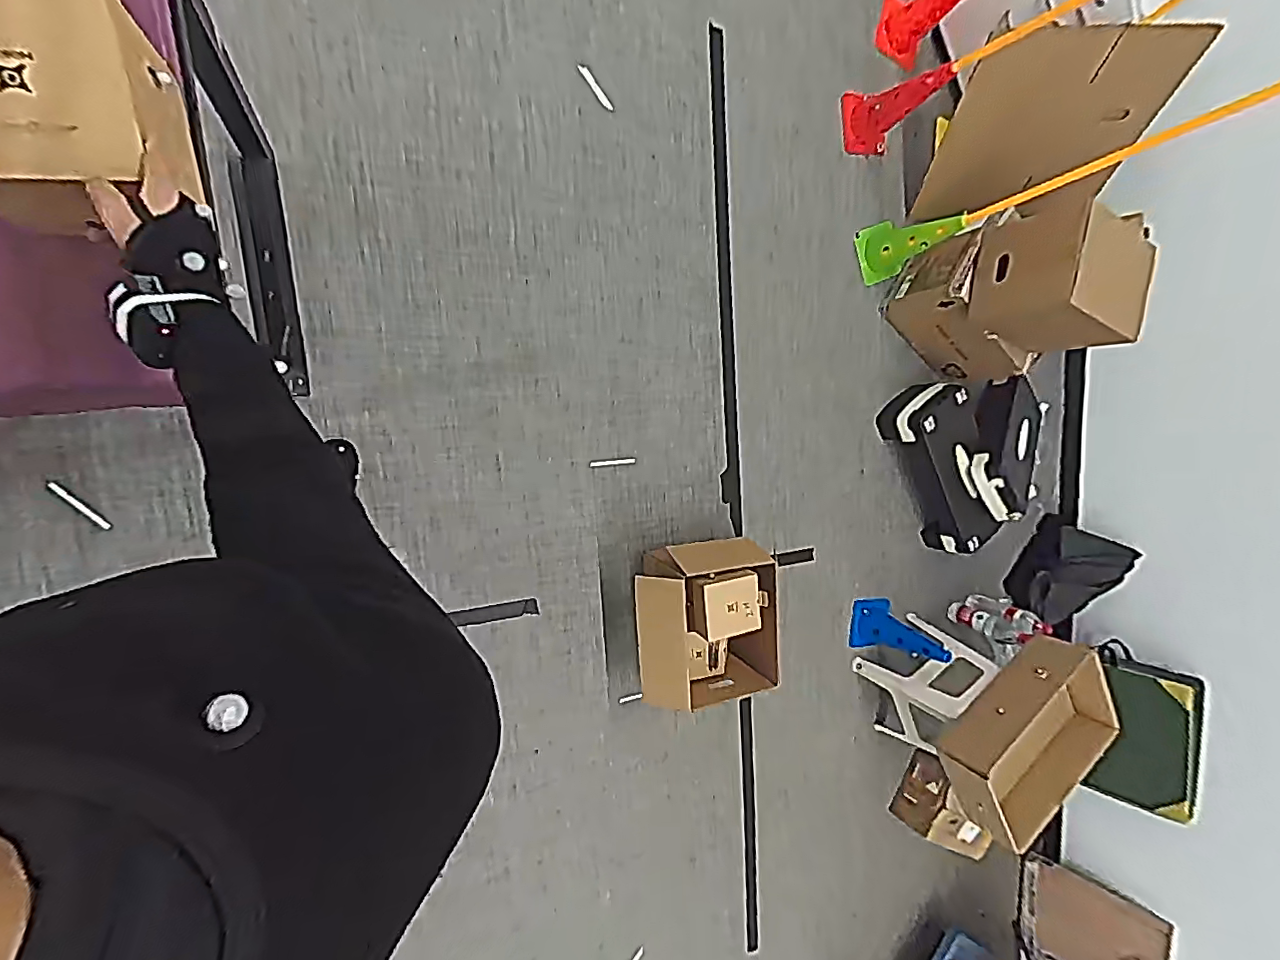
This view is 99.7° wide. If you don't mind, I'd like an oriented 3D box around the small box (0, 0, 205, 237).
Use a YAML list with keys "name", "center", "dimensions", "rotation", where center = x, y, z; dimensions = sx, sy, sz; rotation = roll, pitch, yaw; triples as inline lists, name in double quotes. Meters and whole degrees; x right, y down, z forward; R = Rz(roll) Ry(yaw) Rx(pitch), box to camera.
- name: "small box"
  center: [-0.579, -0.363, 0.543]
  dimensions: [0.168, 0.176, 0.179]
  rotation: [-10, 100, -21]

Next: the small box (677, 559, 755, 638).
- name: "small box"
  center: [0.216, 0.341, 1.591]
  dimensions: [0.179, 0.176, 0.168]
  rotation: [-8, 100, -22]
